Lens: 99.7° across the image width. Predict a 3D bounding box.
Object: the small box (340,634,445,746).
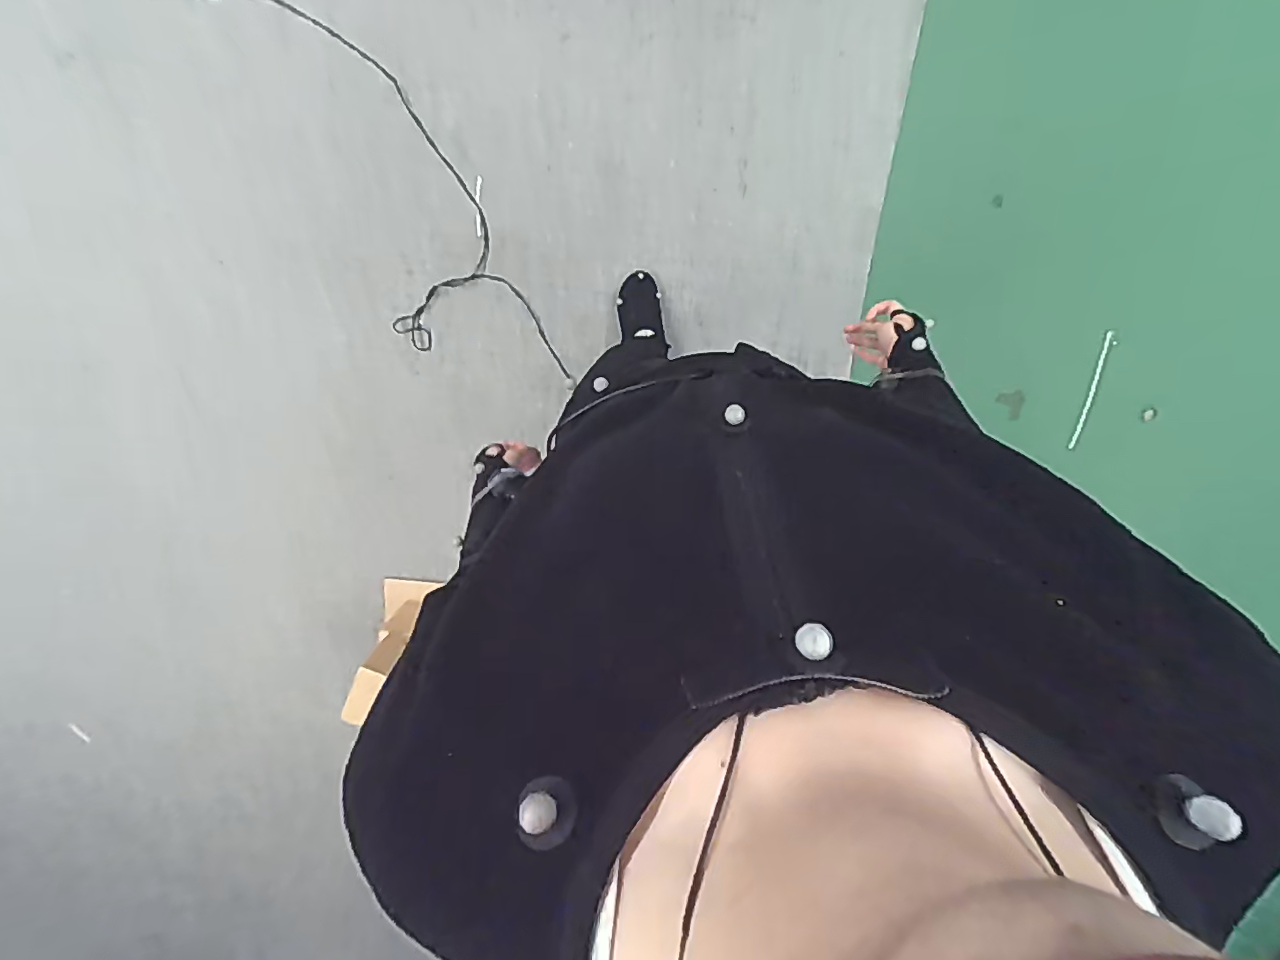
[{"bbox_3d":[-0.633,0.538,1.402,0.168,0.176,0.179,25,105,-6],"label":"small box"}]
